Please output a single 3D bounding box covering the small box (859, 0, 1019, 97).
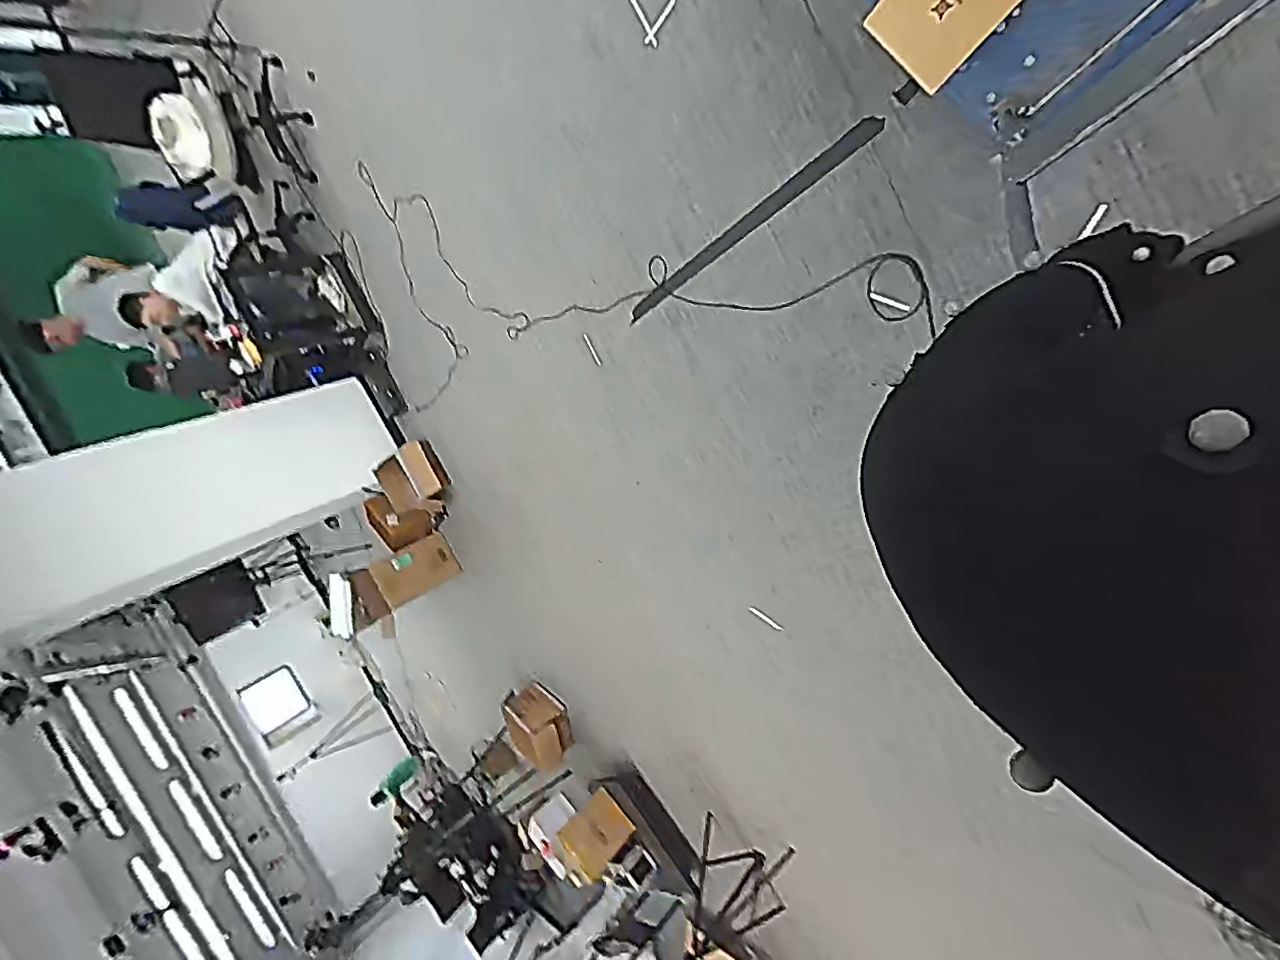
[{"bbox_3d":[0.492,-0.778,0.877,0.168,0.176,0.179,38,141,-10],"label":"small box"}]
